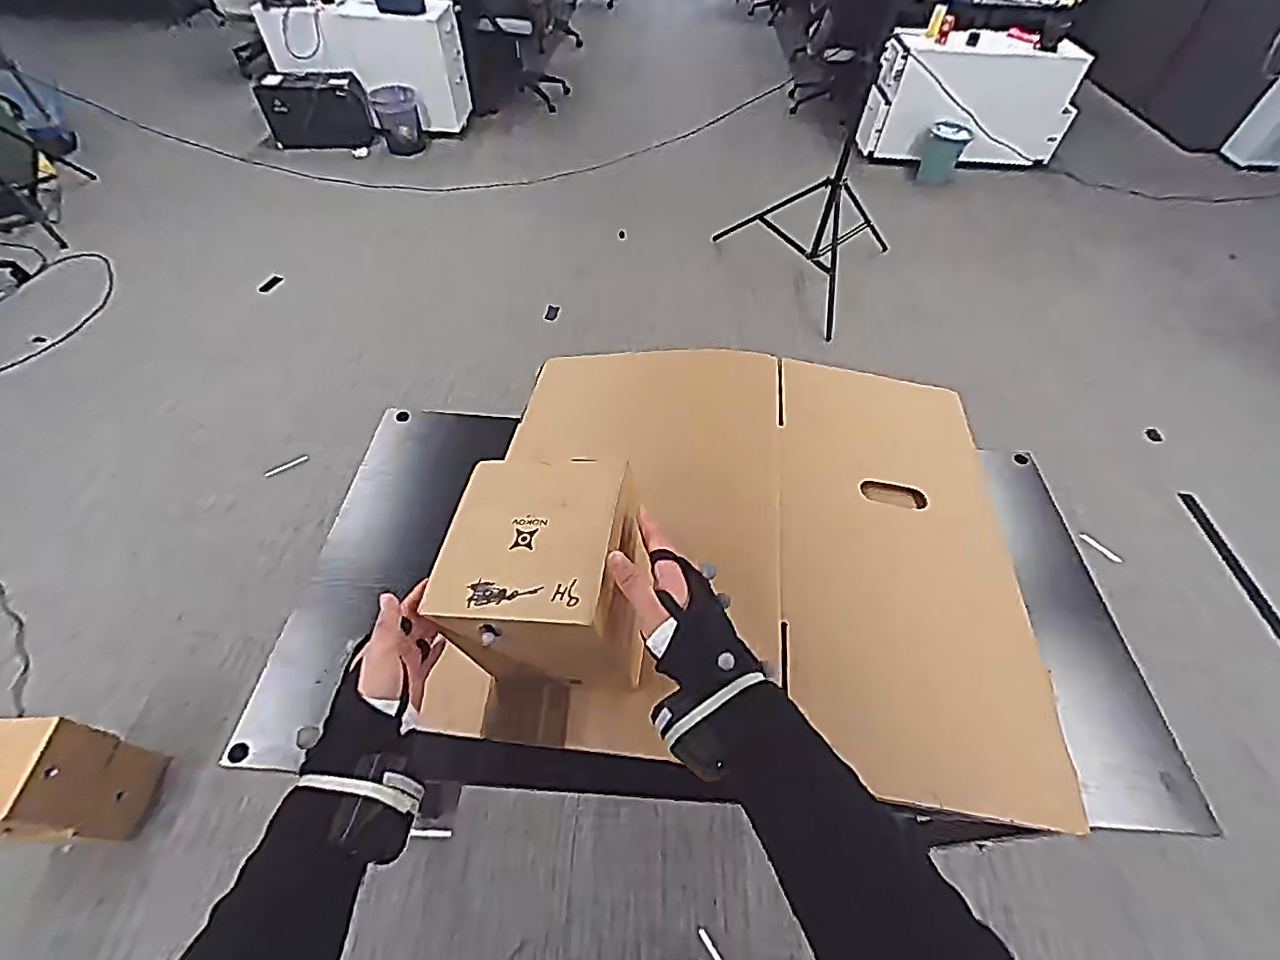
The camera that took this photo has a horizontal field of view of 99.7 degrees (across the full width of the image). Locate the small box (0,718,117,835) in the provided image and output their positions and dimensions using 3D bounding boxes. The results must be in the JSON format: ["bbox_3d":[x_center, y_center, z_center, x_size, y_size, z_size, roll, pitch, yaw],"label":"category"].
[{"bbox_3d":[-1.191,0.578,1.049,0.168,0.176,0.179,-1,52,-5],"label":"small box"}]

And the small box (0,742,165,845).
[{"bbox_3d":[-1.196,0.682,1.175,0.168,0.176,0.179,1,53,-2],"label":"small box"}]

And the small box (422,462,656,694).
[{"bbox_3d":[-0.084,0.100,0.560,0.168,0.176,0.179,-1,51,15],"label":"small box"}]
